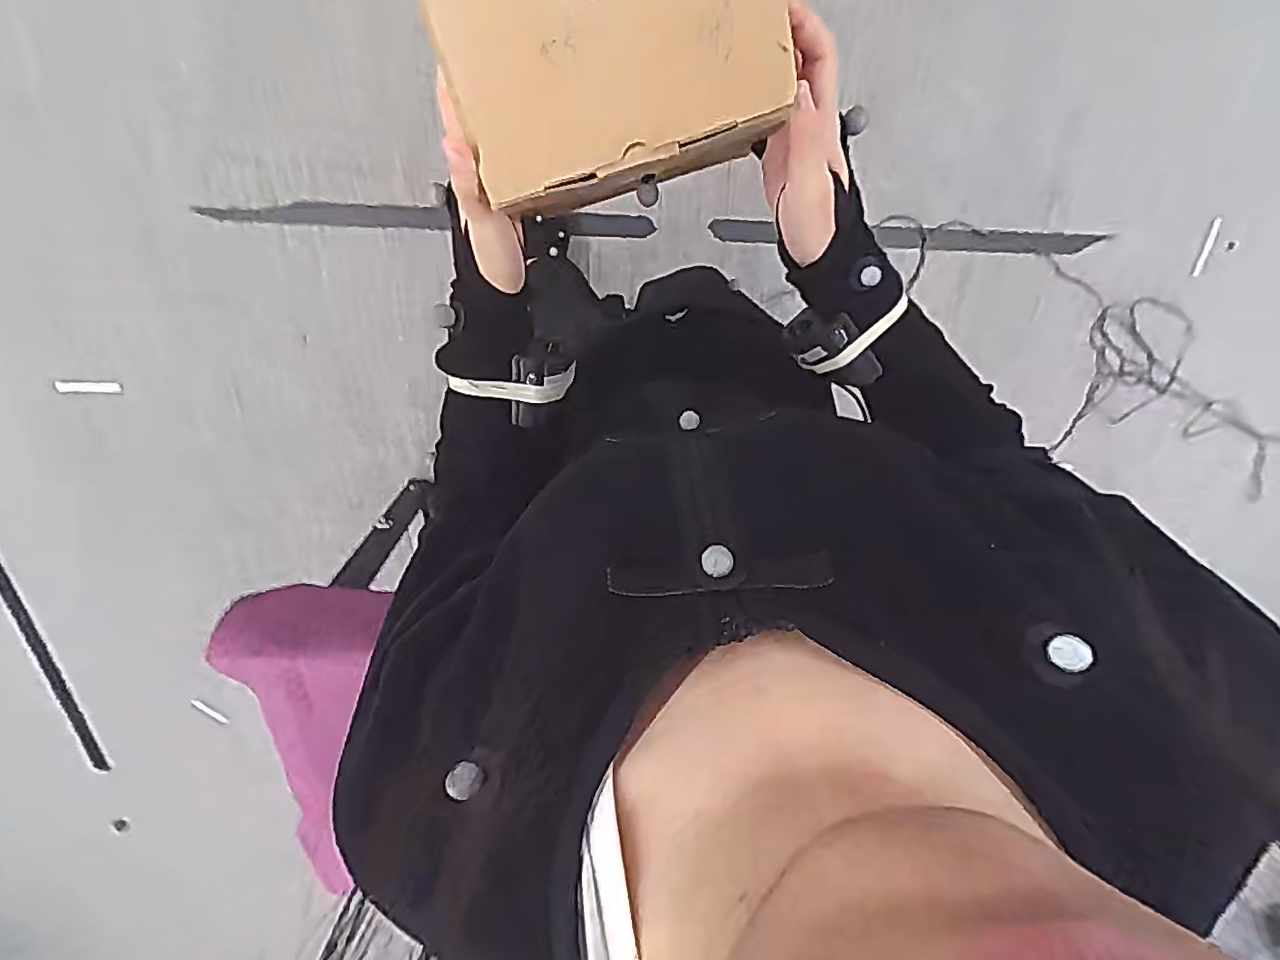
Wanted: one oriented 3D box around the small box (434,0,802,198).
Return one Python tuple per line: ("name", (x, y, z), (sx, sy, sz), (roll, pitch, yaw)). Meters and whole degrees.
("small box", (-0.016, -0.278, 0.313), (0.168, 0.176, 0.179), (-13, 114, 8))
